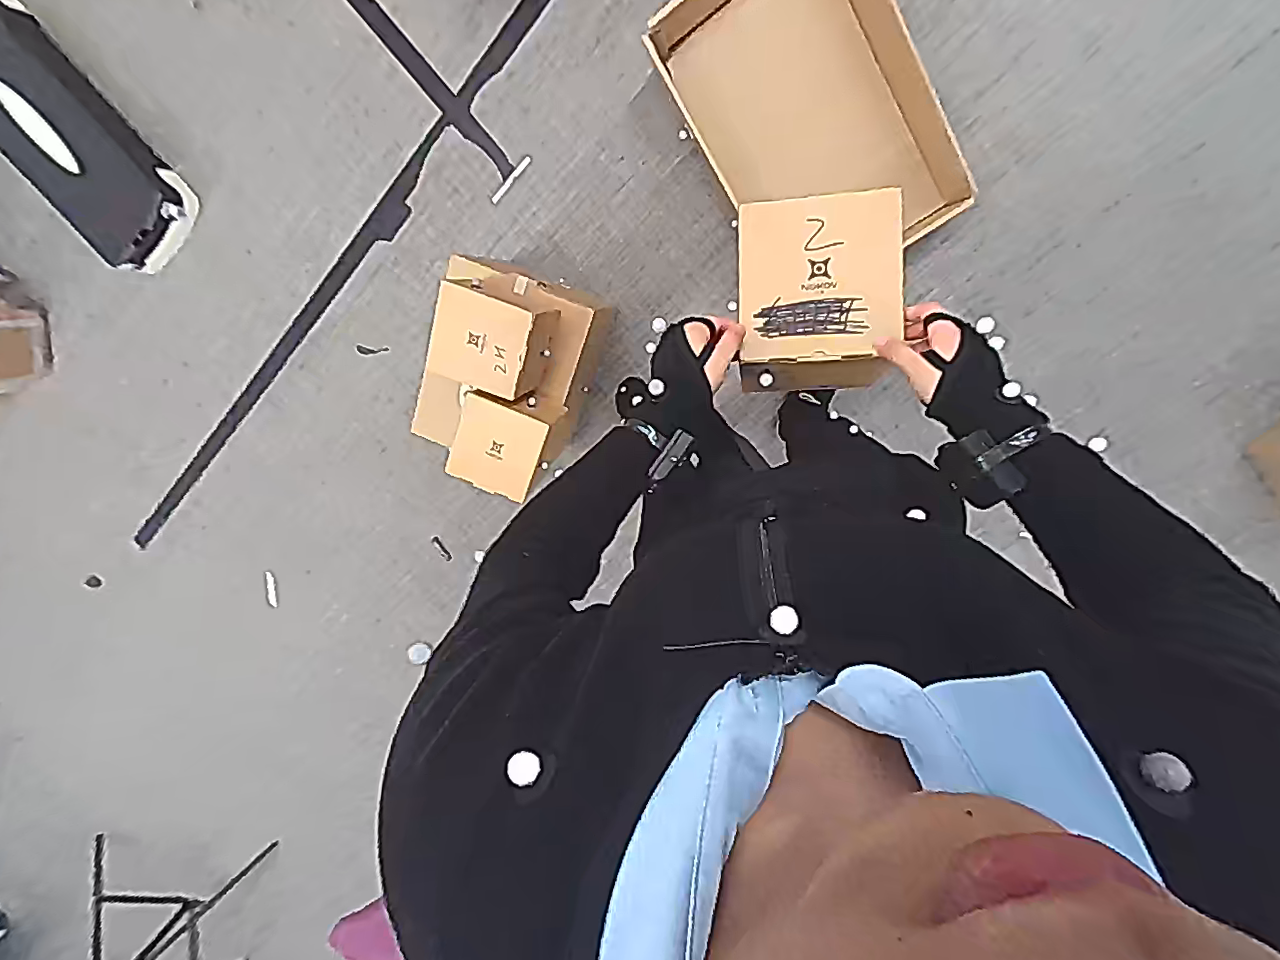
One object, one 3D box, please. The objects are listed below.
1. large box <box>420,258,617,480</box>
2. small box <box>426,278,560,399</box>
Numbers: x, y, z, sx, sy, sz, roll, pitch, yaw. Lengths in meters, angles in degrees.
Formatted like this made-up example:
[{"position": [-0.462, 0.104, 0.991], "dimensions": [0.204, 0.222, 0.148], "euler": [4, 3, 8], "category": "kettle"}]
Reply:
[{"position": [-0.276, -0.275, 1.291], "dimensions": [0.320, 0.320, 0.408], "euler": [22, 111, 1], "category": "large box"}, {"position": [-0.273, -0.273, 1.029], "dimensions": [0.179, 0.176, 0.168], "euler": [20, 112, -1], "category": "small box"}]
